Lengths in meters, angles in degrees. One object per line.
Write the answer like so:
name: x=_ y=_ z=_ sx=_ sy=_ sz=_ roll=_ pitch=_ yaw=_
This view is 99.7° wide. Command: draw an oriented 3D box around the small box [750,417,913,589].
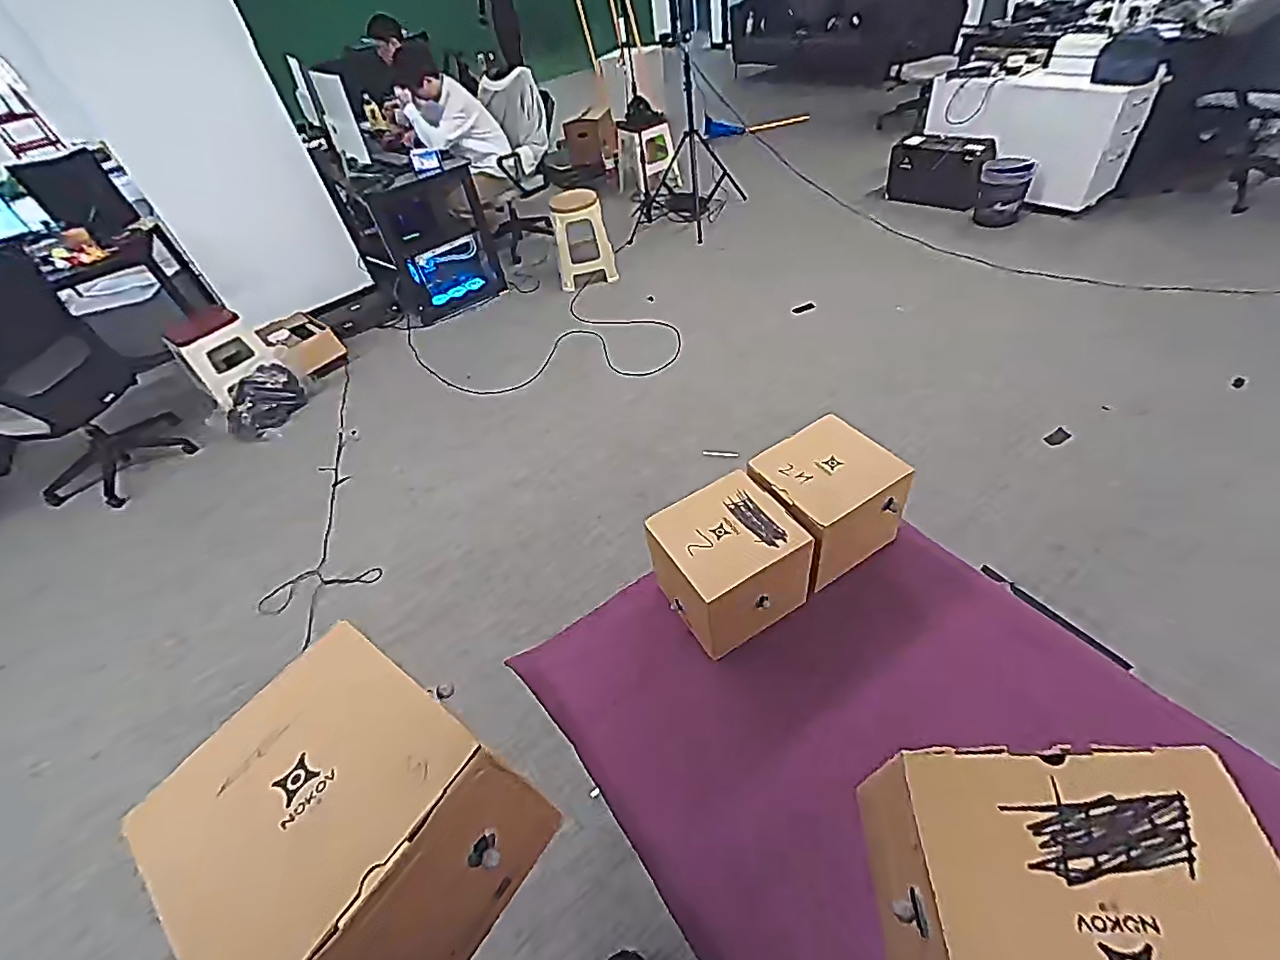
small box: x=0.289 y=0.036 z=0.858 sx=0.179 sy=0.176 sz=0.168 roll=-29 pitch=47 yaw=-16

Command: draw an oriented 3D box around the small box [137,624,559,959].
small box: x=-0.186 y=0.243 z=0.389 sx=0.179 sy=0.176 sz=0.168 roll=20 pitch=53 yaw=32

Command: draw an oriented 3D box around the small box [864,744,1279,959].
small box: x=0.248 y=0.272 z=0.326 sx=0.168 sy=0.176 sz=0.179 roll=-5 pitch=54 yaw=8
